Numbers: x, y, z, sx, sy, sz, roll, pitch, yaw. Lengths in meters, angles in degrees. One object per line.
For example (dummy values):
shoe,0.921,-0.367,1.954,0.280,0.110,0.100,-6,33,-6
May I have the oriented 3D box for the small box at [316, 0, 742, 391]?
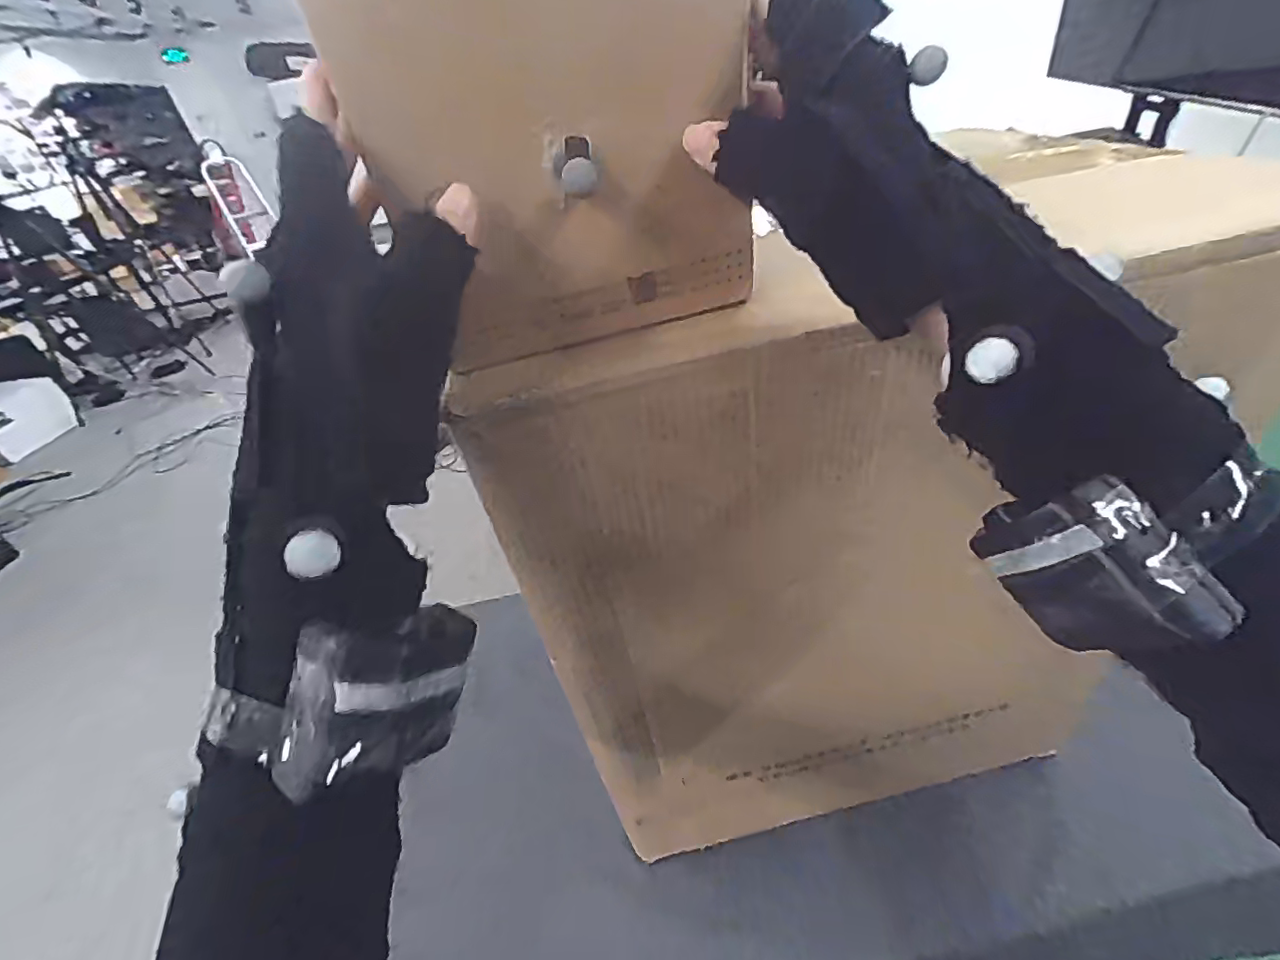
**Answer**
small box,-0.049,-0.169,0.316,0.168,0.176,0.179,-18,40,-6
